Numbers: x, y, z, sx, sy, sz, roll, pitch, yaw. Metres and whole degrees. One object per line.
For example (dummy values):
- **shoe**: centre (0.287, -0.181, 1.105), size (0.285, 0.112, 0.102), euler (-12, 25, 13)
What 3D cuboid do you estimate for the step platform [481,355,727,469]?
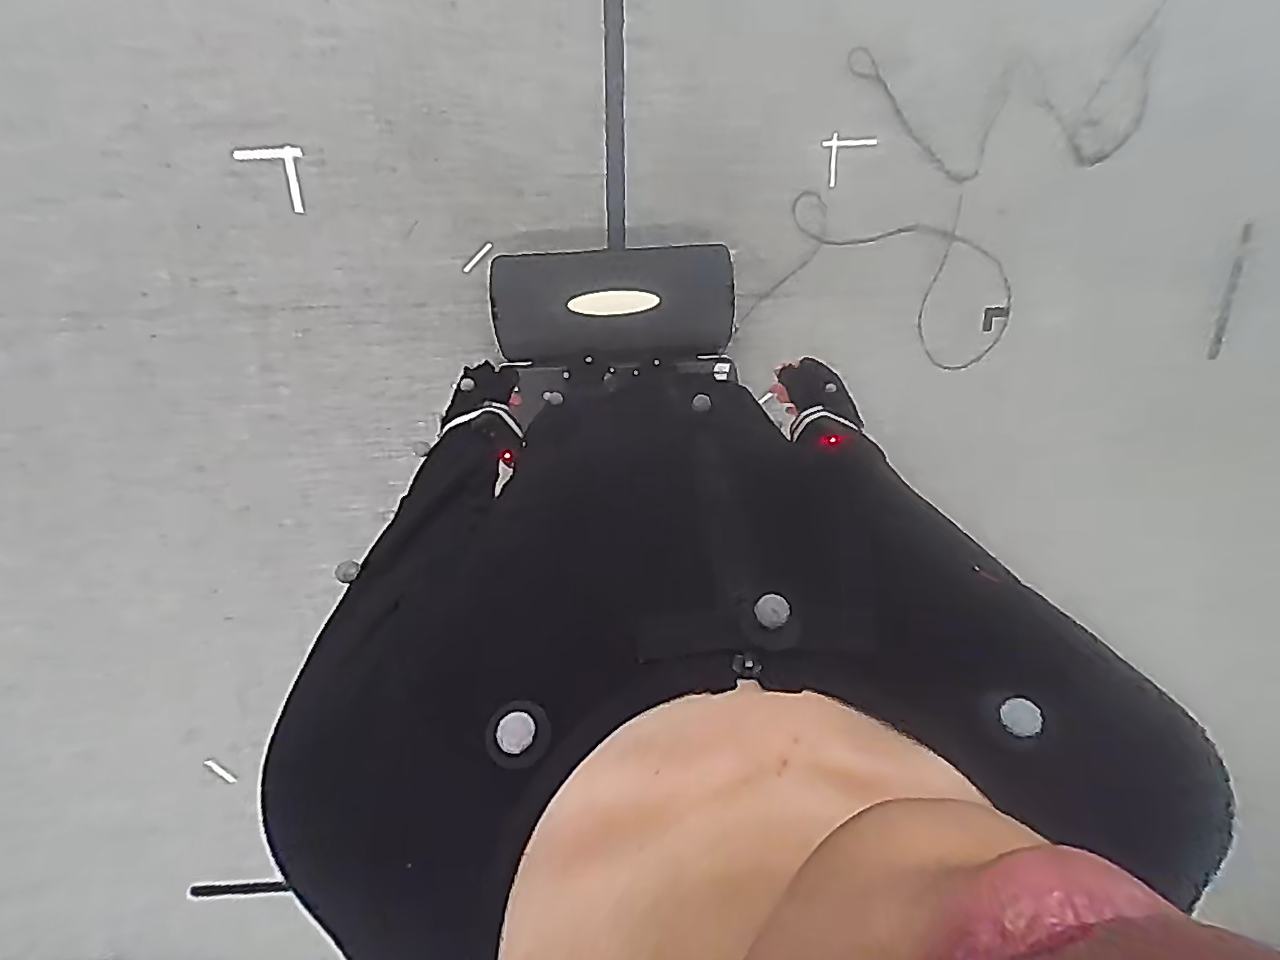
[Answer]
- **step platform**: centre (-0.096, -0.195, 1.539), size (0.684, 0.204, 0.286), euler (-3, 104, -1)
